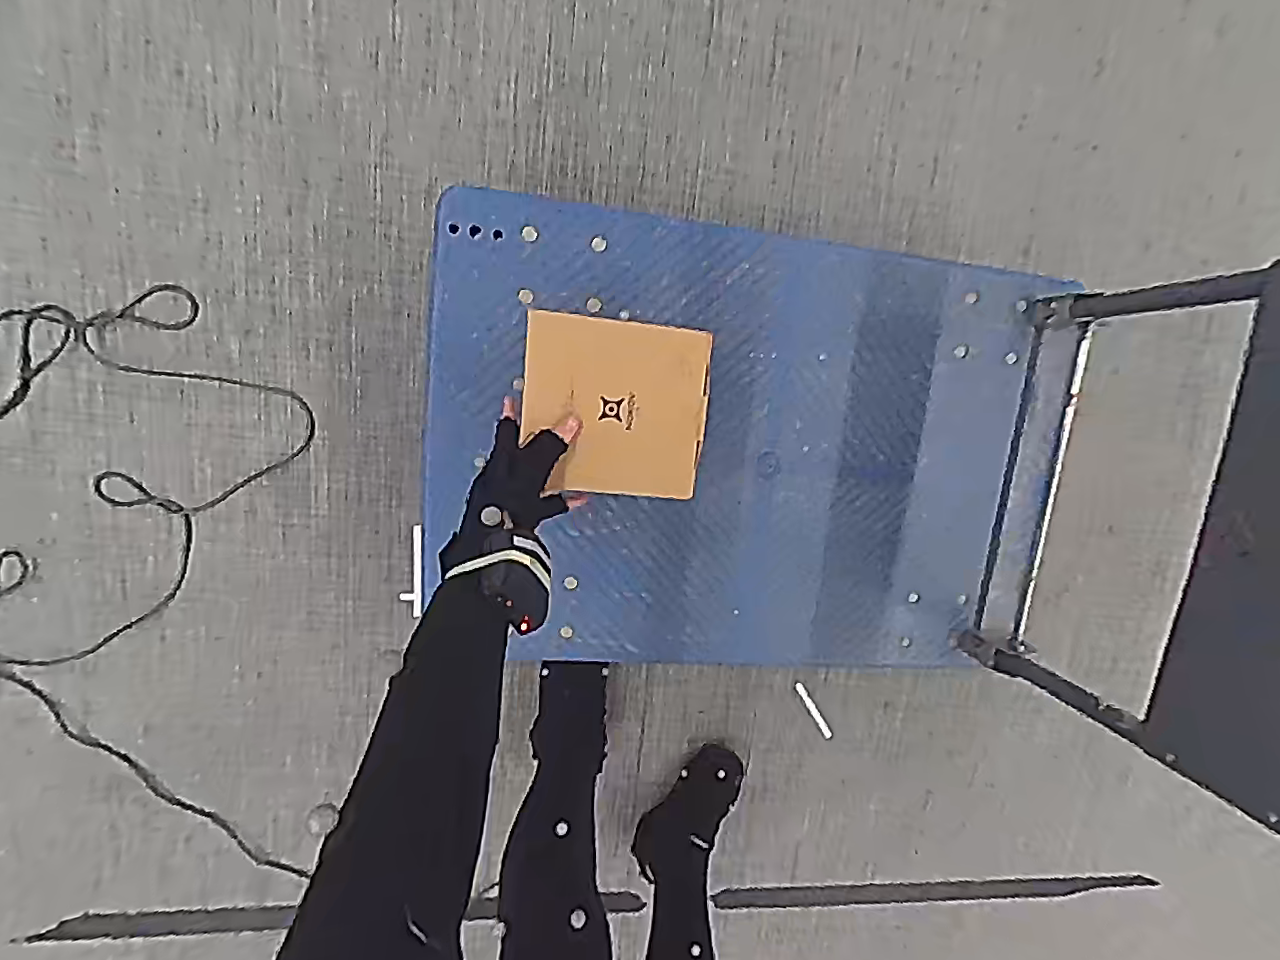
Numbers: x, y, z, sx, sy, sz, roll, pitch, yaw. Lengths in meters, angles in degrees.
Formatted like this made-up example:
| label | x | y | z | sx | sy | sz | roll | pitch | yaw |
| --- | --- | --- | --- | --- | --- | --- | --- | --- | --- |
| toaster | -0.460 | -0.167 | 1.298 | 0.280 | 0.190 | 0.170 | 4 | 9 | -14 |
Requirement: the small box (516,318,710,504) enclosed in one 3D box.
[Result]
| label | x | y | z | sx | sy | sz | roll | pitch | yaw |
| --- | --- | --- | --- | --- | --- | --- | --- | --- | --- |
| small box | -0.037 | -0.076 | 0.597 | 0.179 | 0.176 | 0.168 | 5 | 98 | -9 |
